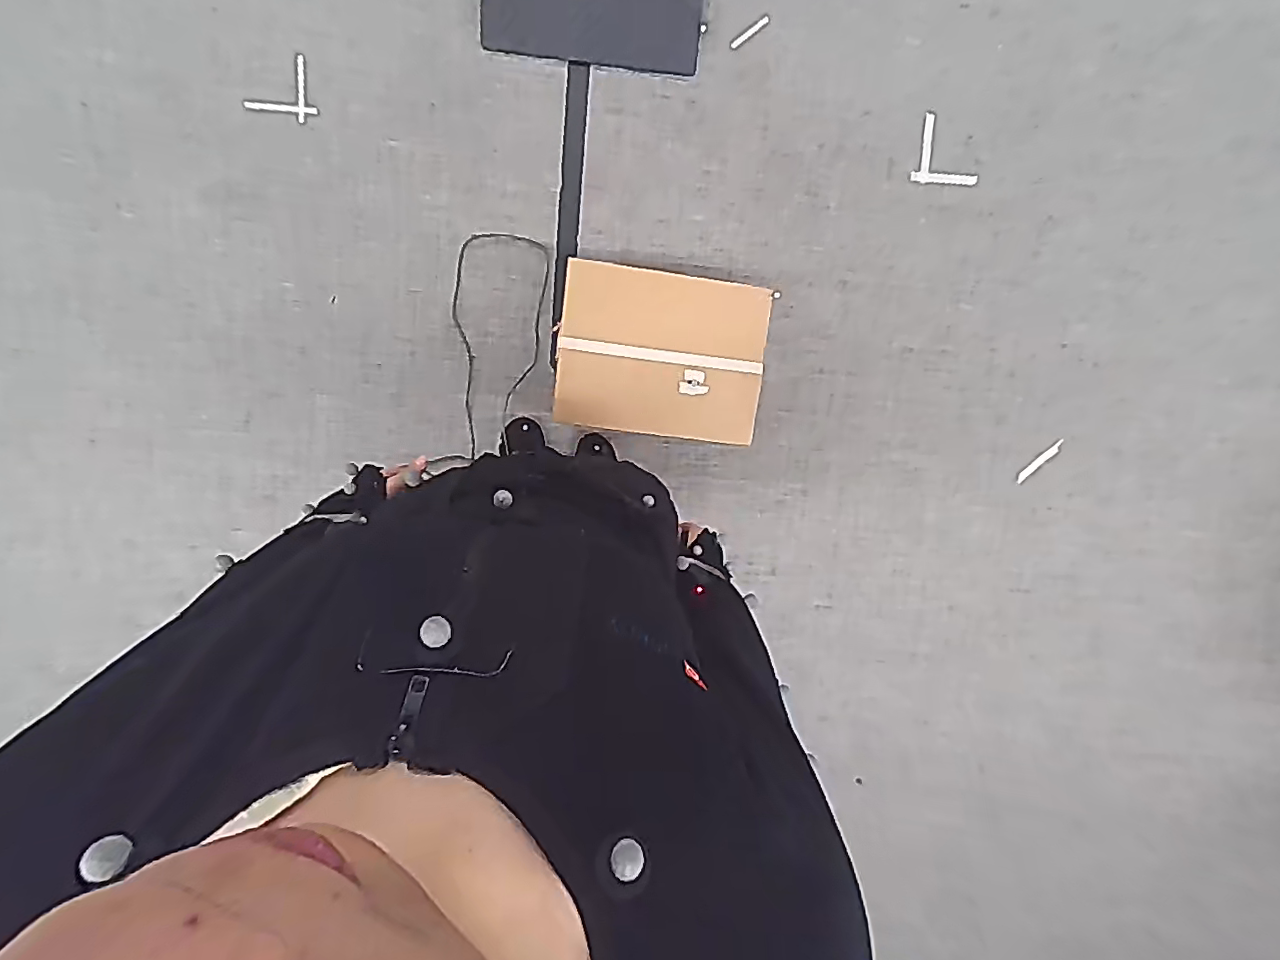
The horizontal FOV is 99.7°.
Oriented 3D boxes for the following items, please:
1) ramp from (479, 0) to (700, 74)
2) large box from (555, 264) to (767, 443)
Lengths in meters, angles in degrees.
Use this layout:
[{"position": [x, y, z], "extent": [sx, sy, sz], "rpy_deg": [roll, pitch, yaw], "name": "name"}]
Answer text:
[{"position": [-0.078, -1.428, 1.081], "extent": [0.509, 0.206, 0.991], "rpy_deg": [1, 99, -7], "name": "ramp"}, {"position": [0.023, -0.264, 1.211], "extent": [0.408, 0.320, 0.320], "rpy_deg": [6, 99, -8], "name": "large box"}]
